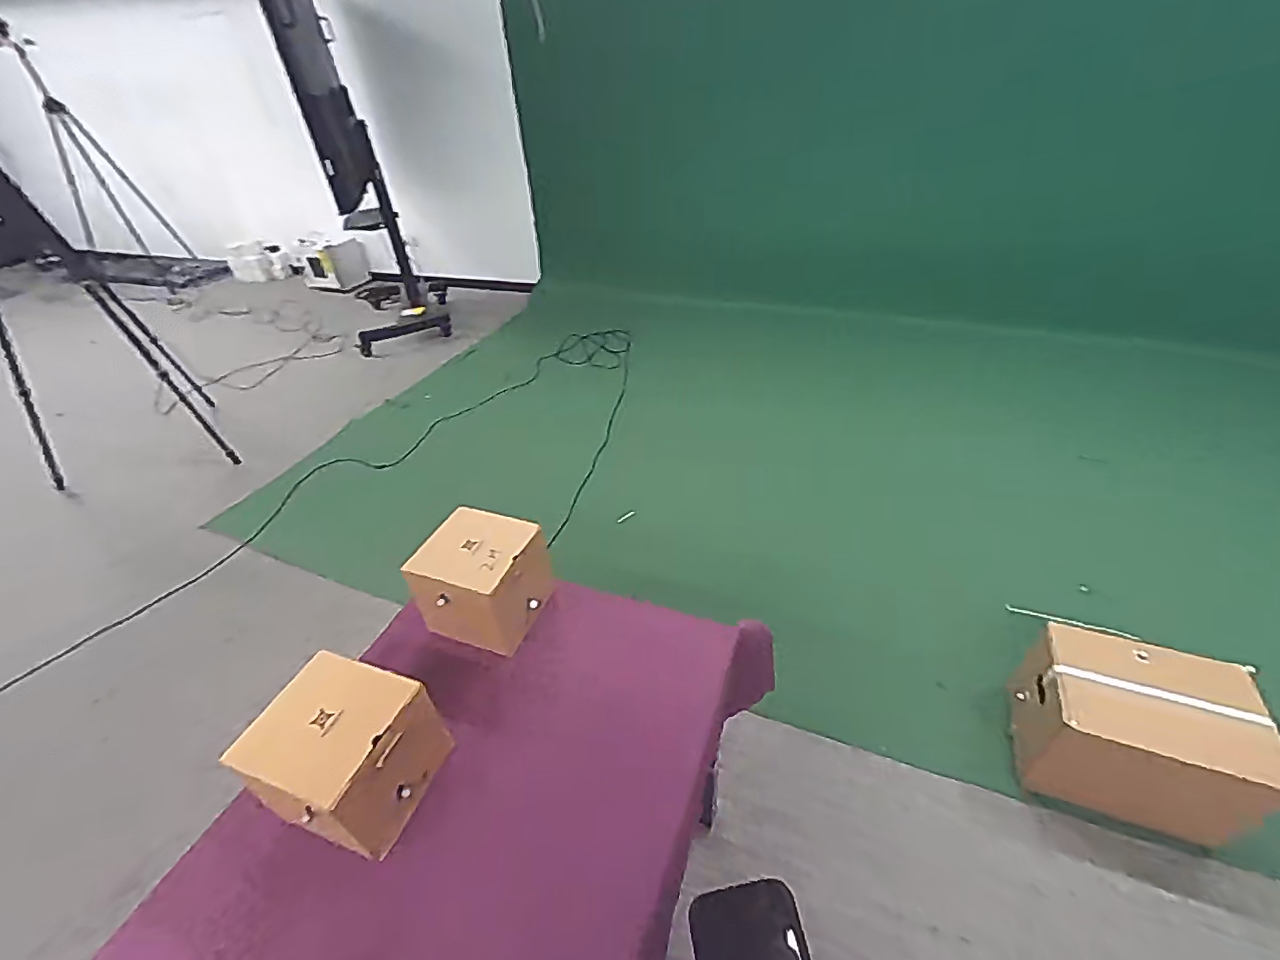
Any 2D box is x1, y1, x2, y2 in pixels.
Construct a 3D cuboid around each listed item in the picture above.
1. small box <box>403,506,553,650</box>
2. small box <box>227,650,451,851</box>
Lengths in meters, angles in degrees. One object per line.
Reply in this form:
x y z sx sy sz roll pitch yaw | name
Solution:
-0.277 0.175 0.963 0.179 0.176 0.168 11 42 19 | small box
-0.391 0.367 0.737 0.179 0.176 0.168 10 40 17 | small box
